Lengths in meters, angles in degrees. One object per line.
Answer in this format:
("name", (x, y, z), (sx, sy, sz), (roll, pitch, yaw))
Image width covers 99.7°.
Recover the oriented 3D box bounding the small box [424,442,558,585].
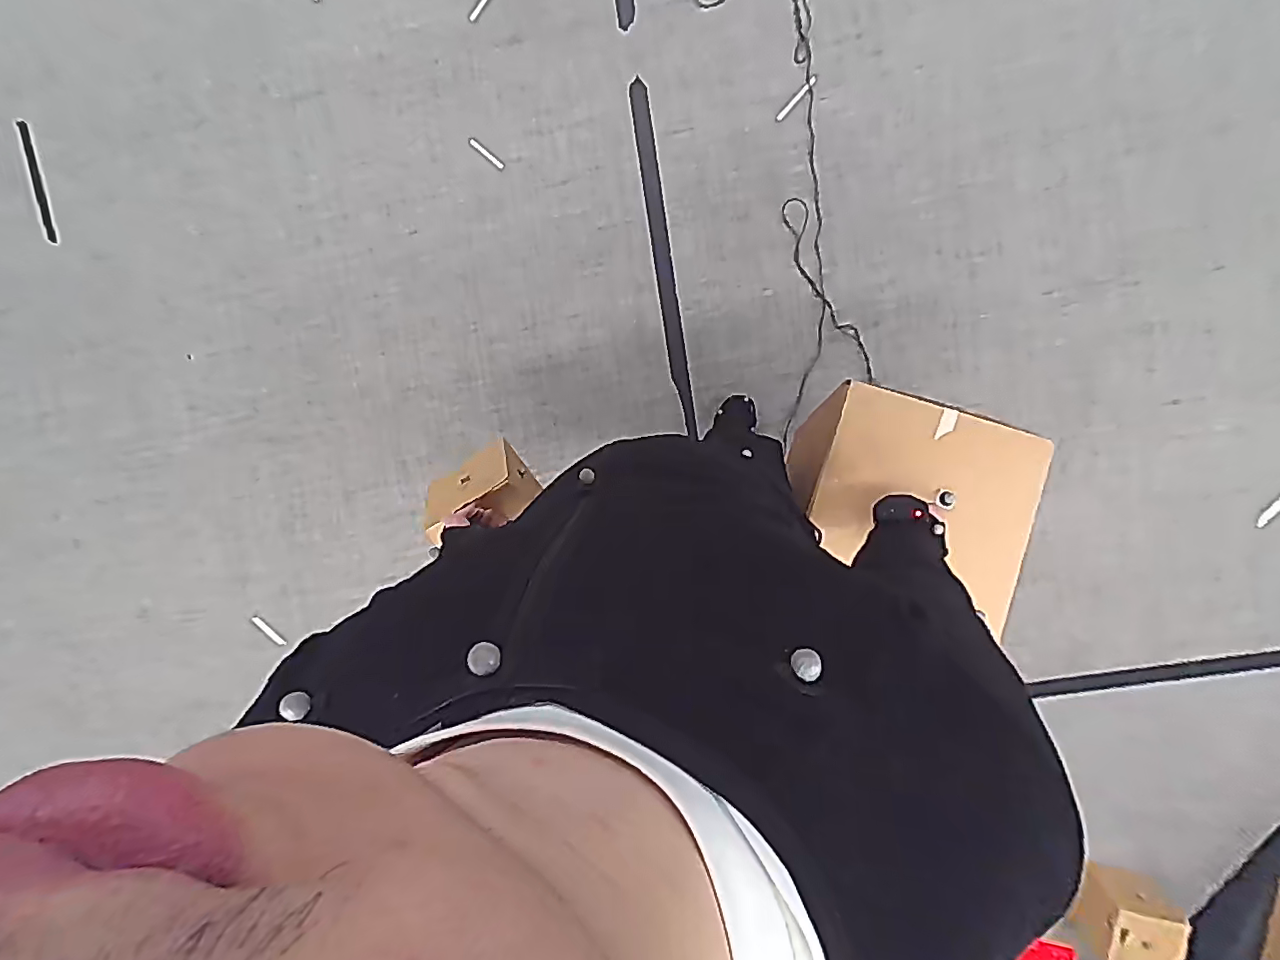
("small box", (-0.266, 0.066, 0.982), (0.168, 0.179, 0.176), (-31, 122, -1))
